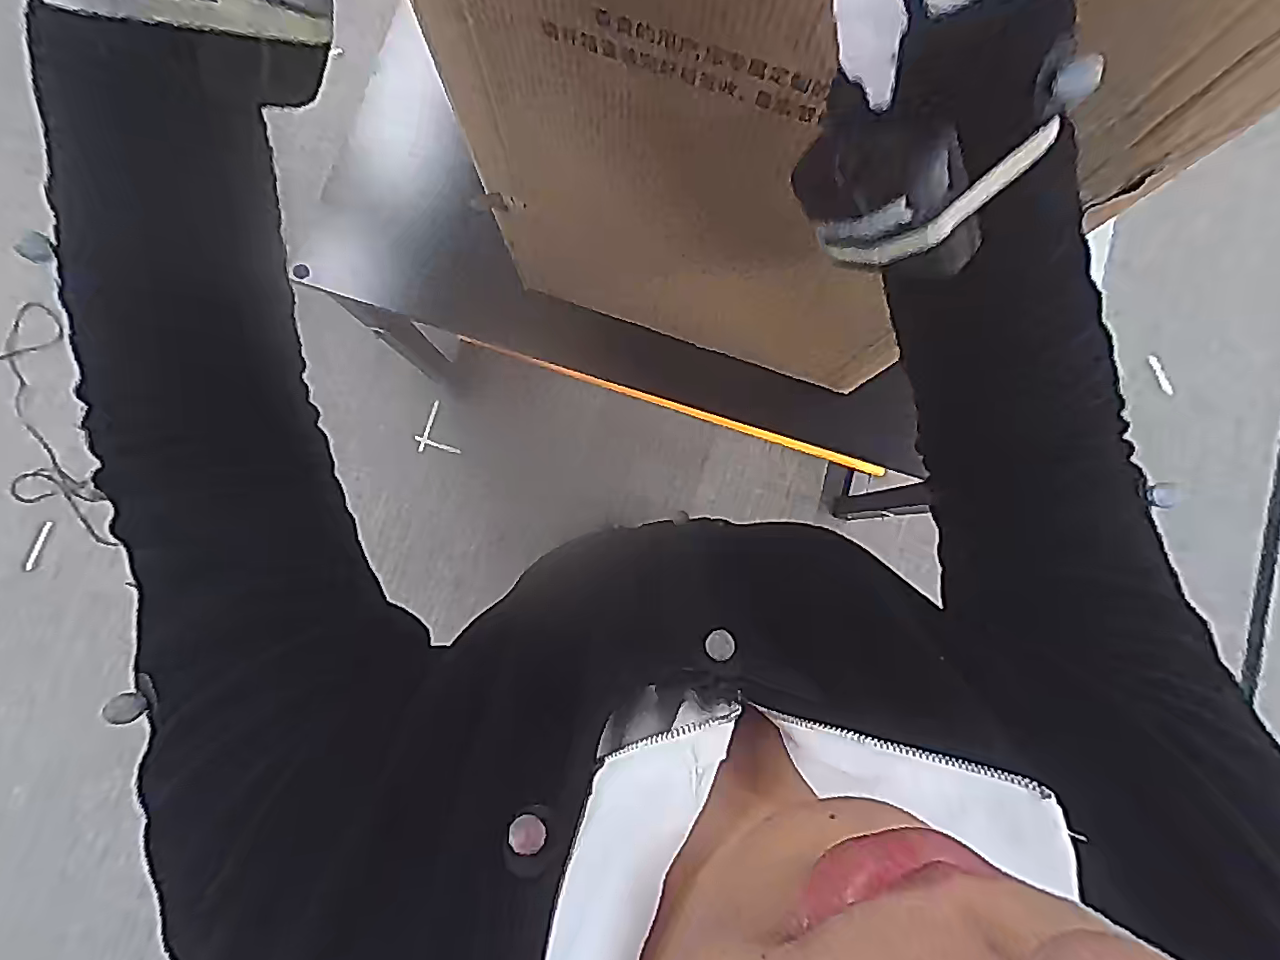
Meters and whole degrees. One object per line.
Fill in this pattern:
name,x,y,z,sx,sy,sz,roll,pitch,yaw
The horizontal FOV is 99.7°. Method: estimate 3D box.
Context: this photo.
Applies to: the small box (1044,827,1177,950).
small box,1.187,1.025,1.374,0.179,0.176,0.168,18,83,1
